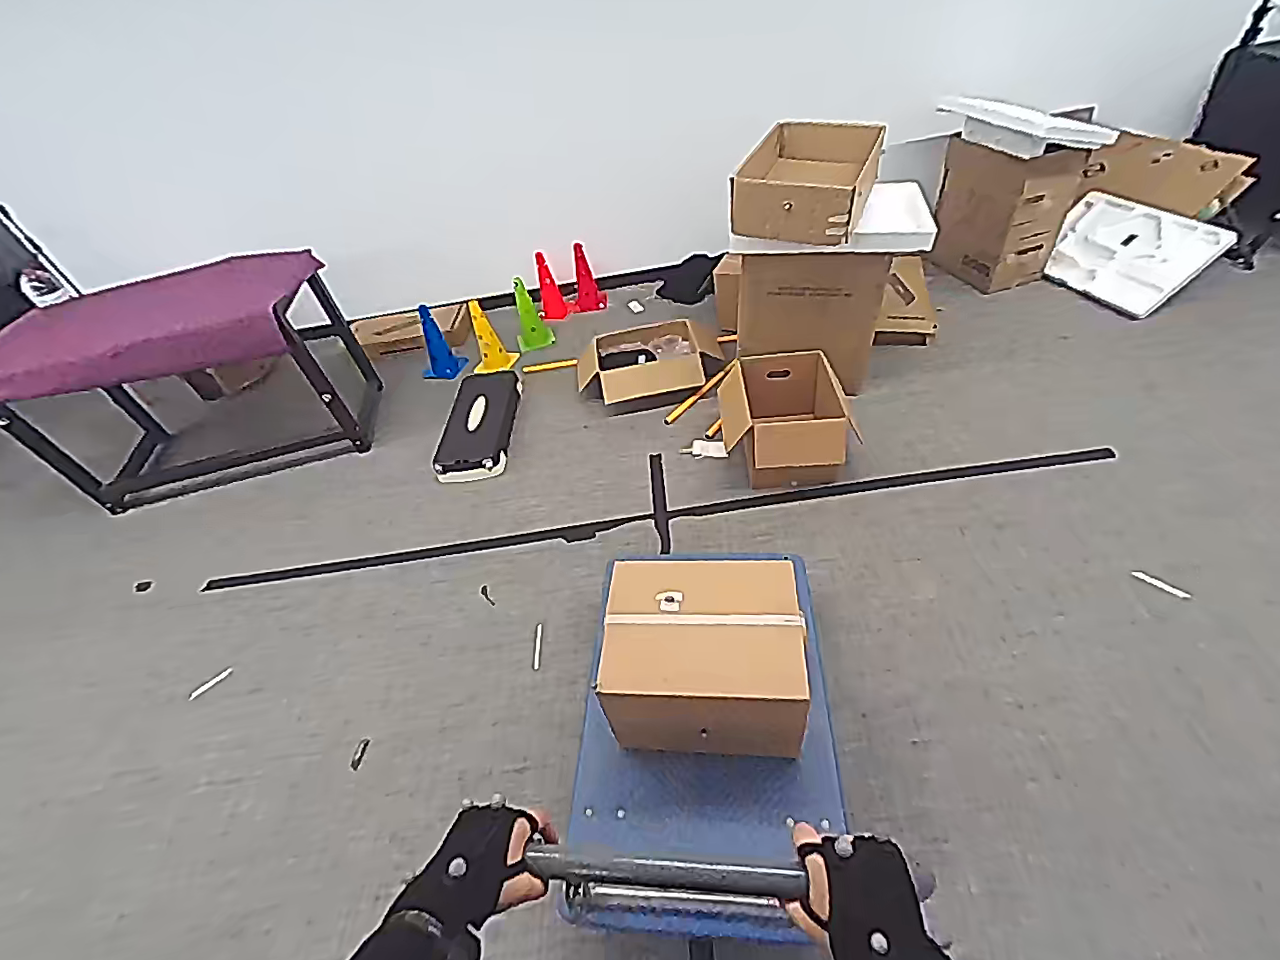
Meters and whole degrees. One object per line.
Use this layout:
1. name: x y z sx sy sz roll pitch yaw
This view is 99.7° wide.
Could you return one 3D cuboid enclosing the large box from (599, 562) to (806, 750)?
1. large box: 0.148 0.409 1.245 0.408 0.320 0.320 -3 44 9
